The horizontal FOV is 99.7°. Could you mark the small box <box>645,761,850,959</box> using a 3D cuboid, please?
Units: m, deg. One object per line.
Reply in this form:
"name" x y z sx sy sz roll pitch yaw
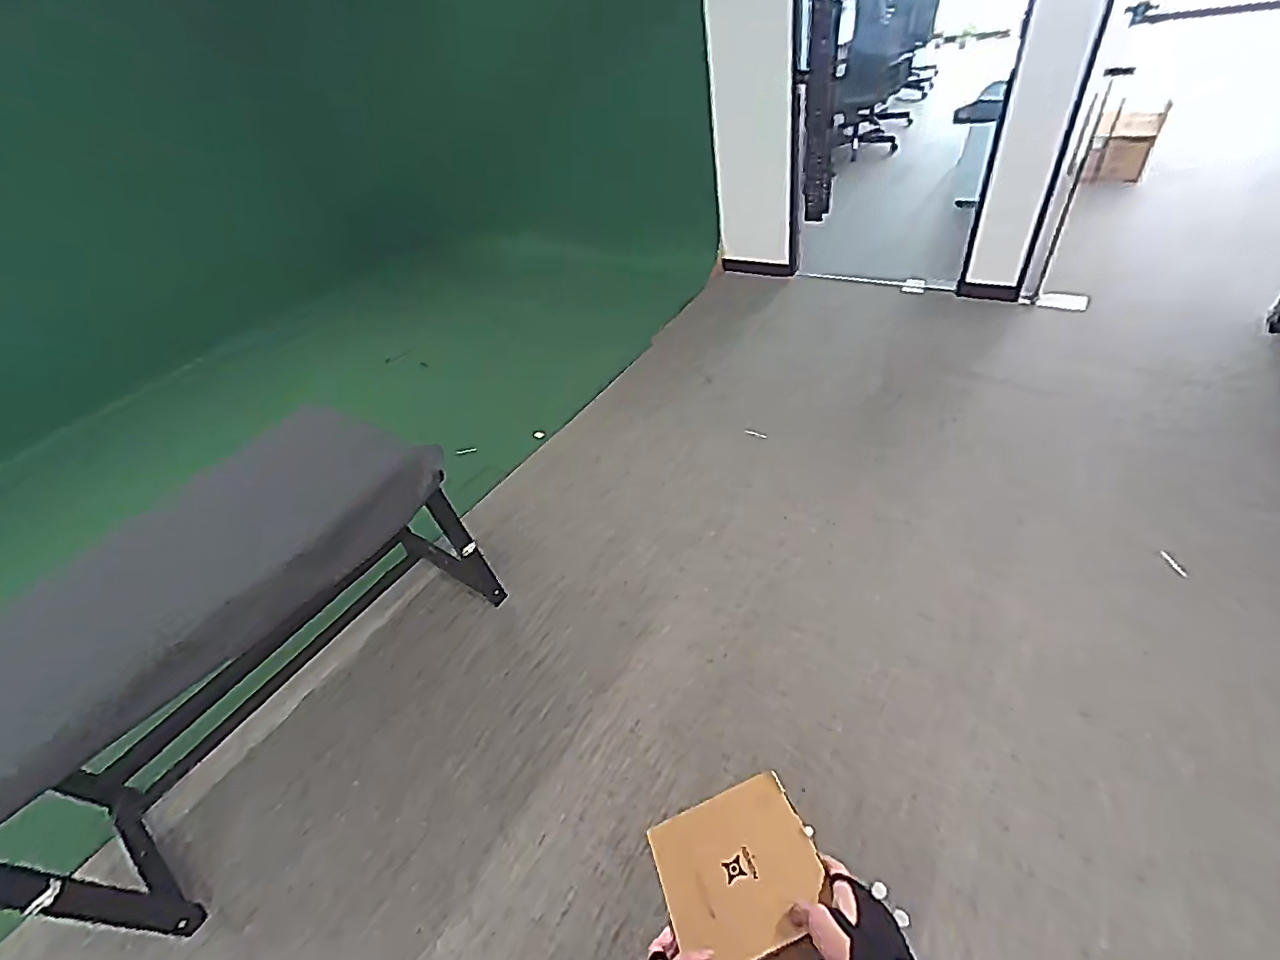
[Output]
"small box" 0.127 0.480 0.634 0.179 0.176 0.168 -22 27 -4
